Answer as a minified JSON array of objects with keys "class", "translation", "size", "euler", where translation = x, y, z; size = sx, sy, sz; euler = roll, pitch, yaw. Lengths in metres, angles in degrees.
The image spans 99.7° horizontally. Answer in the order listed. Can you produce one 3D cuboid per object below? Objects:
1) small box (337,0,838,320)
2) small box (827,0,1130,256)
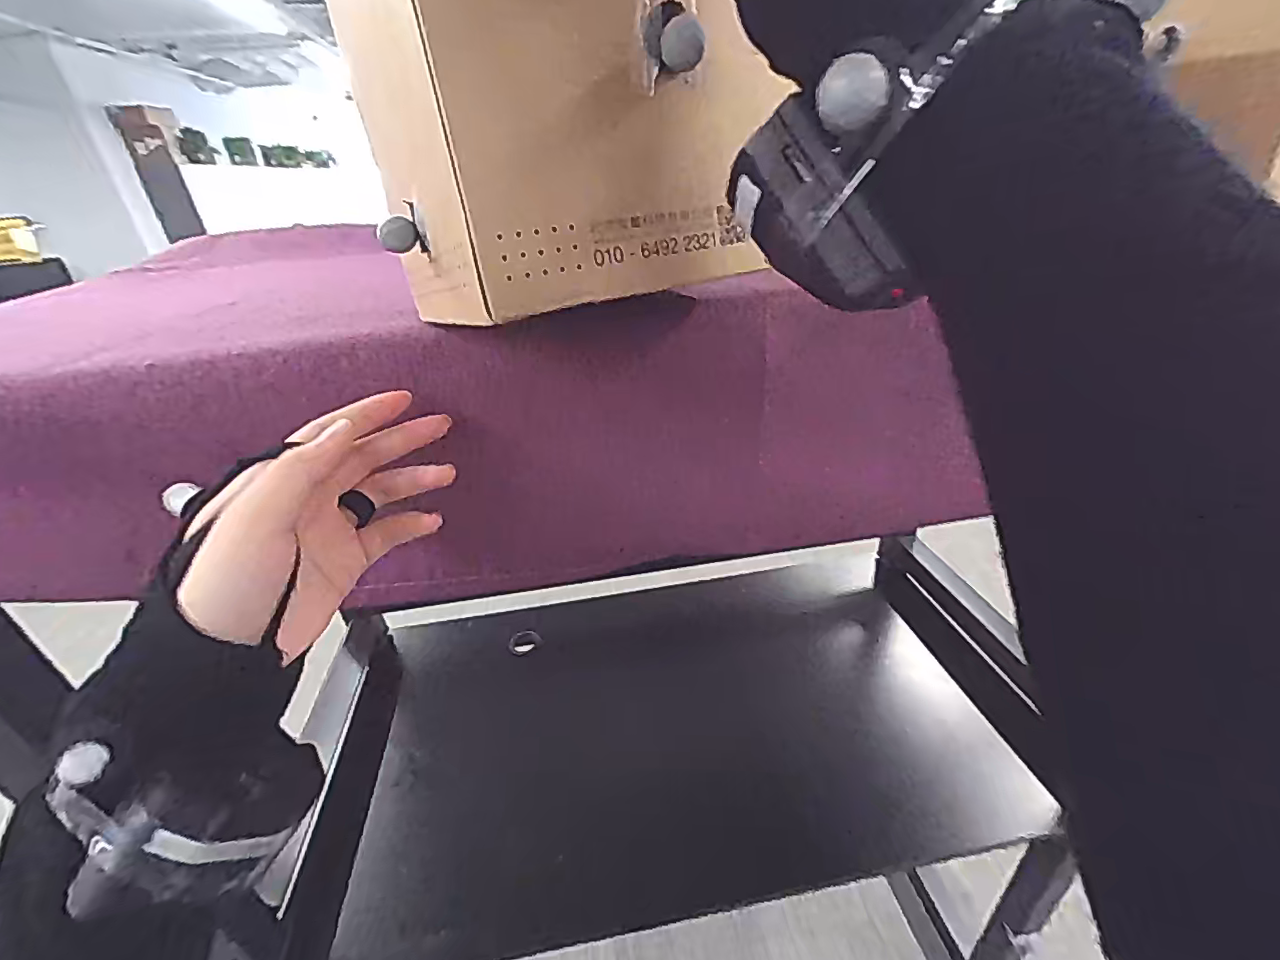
[{"class":"small box","translation":[-0.027,-0.173,0.251],"size":[0.168,0.176,0.179],"euler":[-19,24,-25]},{"class":"small box","translation":[0.226,-0.278,0.429],"size":[0.168,0.176,0.179],"euler":[-10,29,-10]}]
